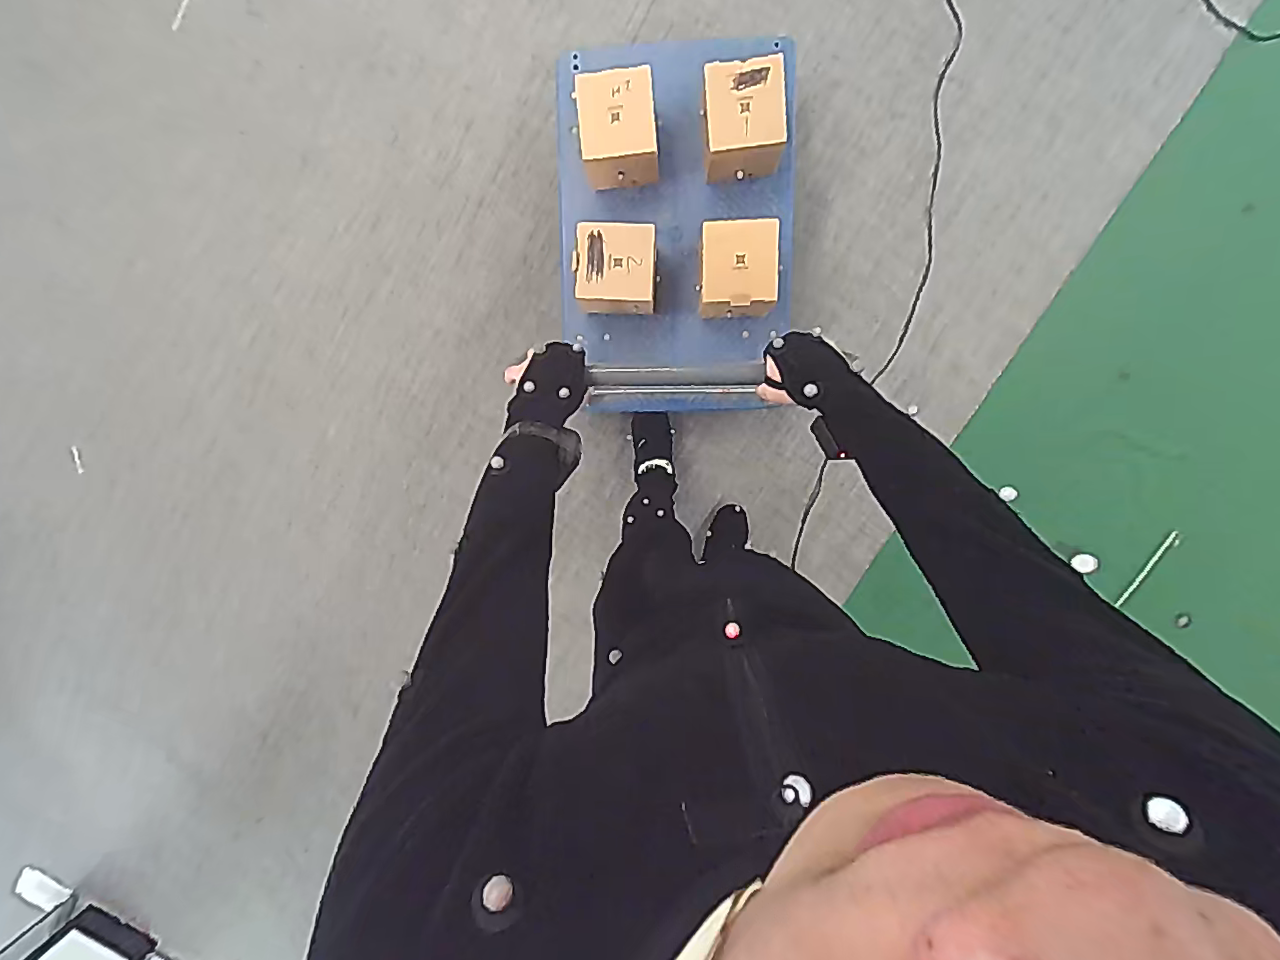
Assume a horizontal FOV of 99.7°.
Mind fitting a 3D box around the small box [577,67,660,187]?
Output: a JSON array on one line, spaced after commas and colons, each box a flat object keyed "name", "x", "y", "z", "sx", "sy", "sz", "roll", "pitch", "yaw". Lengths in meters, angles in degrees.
[{"name": "small box", "x": -0.043, "y": -0.791, "z": 1.235, "sx": 0.168, "sy": 0.176, "sz": 0.179, "roll": -4, "pitch": 97, "yaw": 3}]

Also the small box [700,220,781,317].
[{"name": "small box", "x": 0.227, "y": -0.484, "z": 1.258, "sx": 0.168, "sy": 0.176, "sz": 0.179, "roll": 0, "pitch": 98, "yaw": 4}]

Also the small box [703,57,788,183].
[{"name": "small box", "x": 0.232, "y": -0.799, "z": 1.216, "sx": 0.168, "sy": 0.176, "sz": 0.179, "roll": -4, "pitch": 98, "yaw": 5}]
